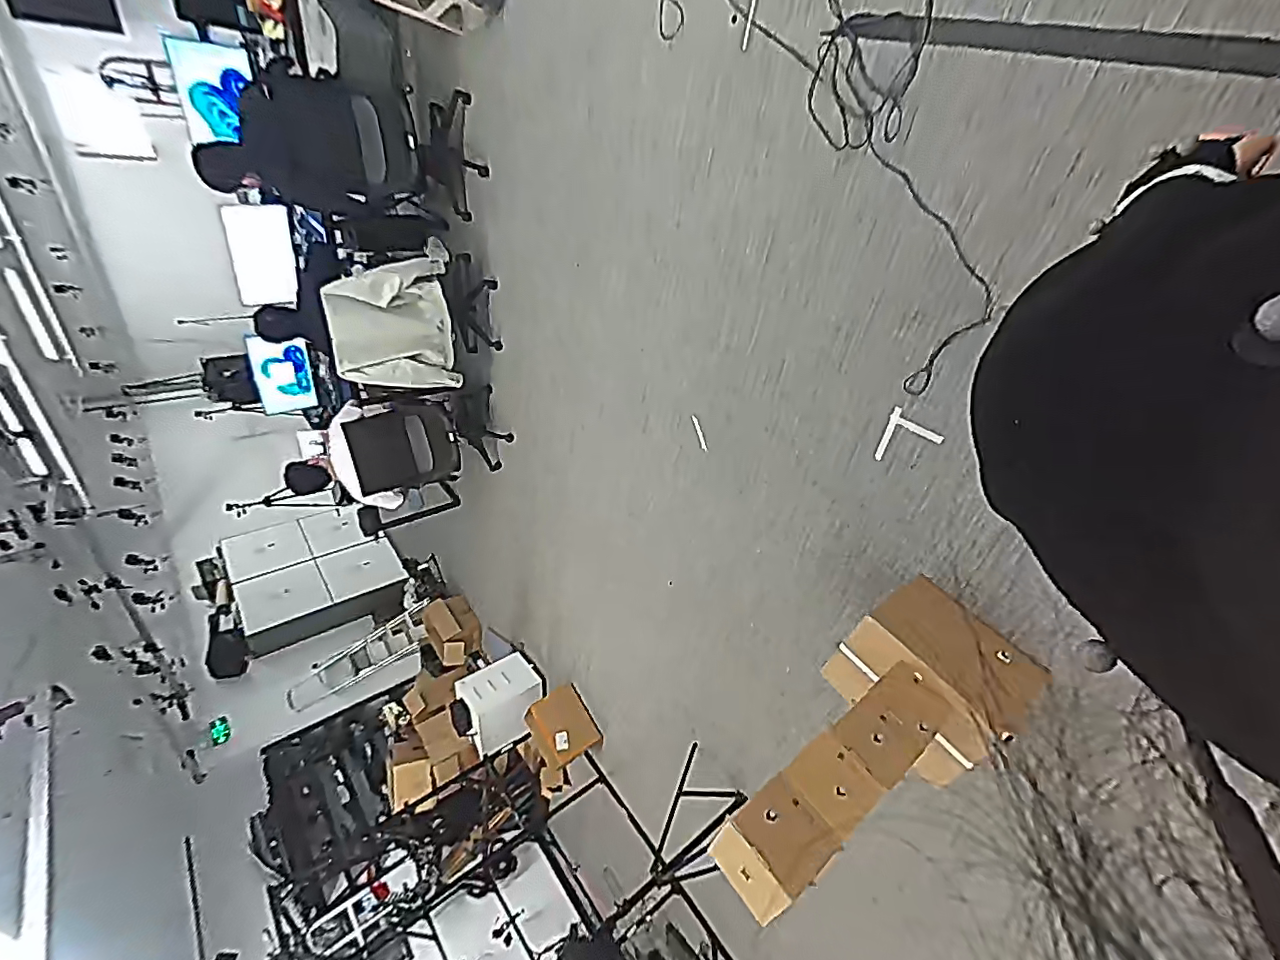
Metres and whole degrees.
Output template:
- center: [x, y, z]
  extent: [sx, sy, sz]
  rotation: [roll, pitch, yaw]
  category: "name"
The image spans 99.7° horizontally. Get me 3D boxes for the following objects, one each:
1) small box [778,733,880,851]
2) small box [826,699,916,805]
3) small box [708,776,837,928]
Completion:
- center: [0.395, 0.698, 1.190]
  extent: [0.168, 0.176, 0.179]
  rotation: [43, 137, 33]
  category: "small box"
- center: [0.521, 0.658, 1.284]
  extent: [0.168, 0.176, 0.179]
  rotation: [45, 137, 32]
  category: "small box"
- center: [0.270, 0.747, 1.098]
  extent: [0.168, 0.176, 0.179]
  rotation: [43, 138, 34]
  category: "small box"
